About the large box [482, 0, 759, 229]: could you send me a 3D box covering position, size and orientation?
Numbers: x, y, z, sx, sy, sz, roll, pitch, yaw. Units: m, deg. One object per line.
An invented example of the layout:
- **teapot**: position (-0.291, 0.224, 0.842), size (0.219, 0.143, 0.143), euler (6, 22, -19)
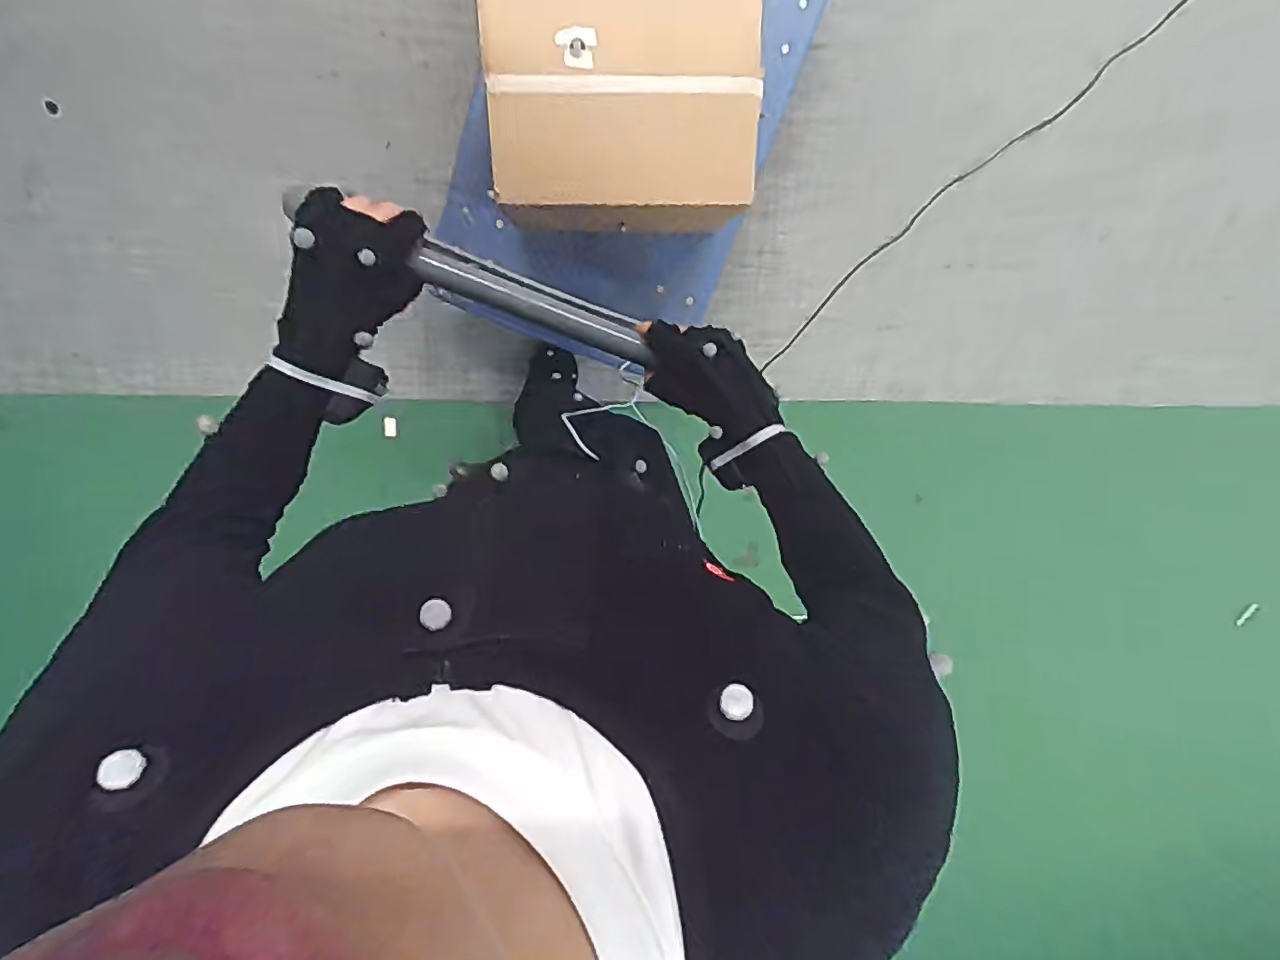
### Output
- **large box**: position (-0.030, -0.625, 0.944), size (0.408, 0.320, 0.320), euler (-2, 107, -3)
